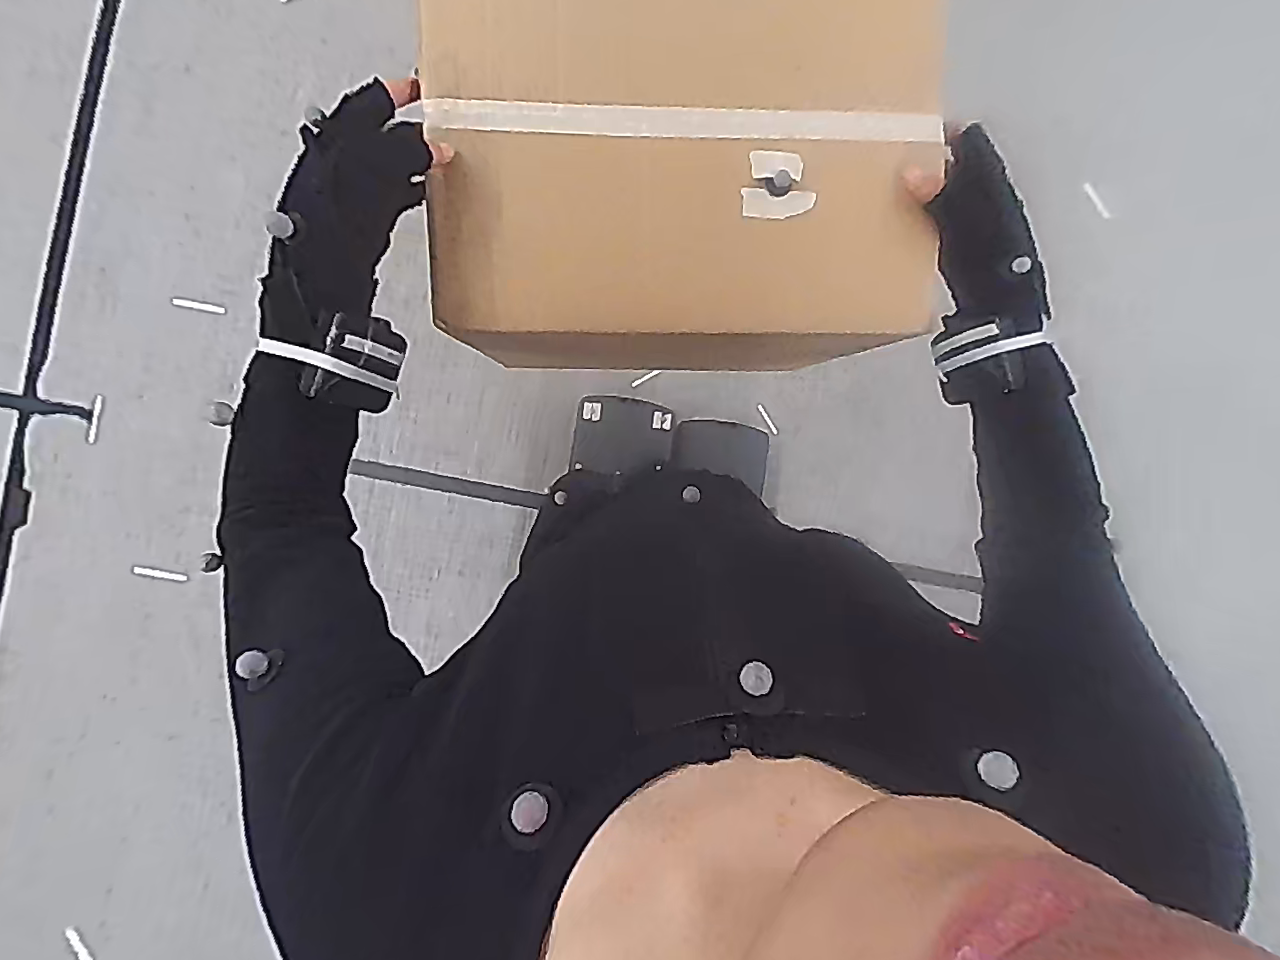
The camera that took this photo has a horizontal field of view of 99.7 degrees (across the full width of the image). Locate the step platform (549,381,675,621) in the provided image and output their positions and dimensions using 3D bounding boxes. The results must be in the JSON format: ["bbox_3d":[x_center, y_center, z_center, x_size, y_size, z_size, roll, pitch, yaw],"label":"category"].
[{"bbox_3d":[-0.080,0.060,1.577,0.286,0.204,0.684,8,87,-3],"label":"step platform"}]

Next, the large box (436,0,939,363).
[{"bbox_3d":[0.030,-0.300,0.579,0.408,0.320,0.320,0,97,-5],"label":"large box"}]
